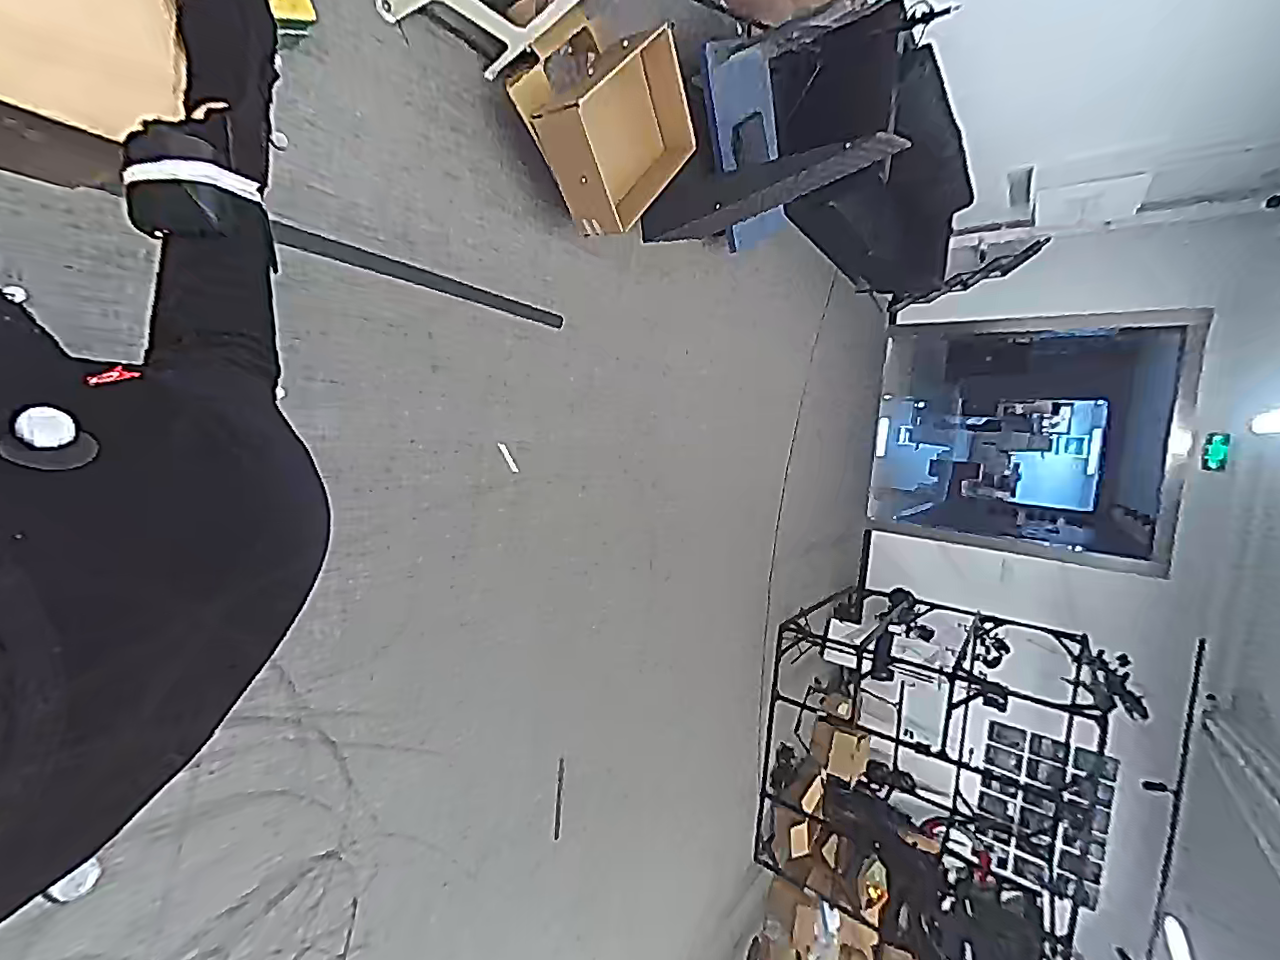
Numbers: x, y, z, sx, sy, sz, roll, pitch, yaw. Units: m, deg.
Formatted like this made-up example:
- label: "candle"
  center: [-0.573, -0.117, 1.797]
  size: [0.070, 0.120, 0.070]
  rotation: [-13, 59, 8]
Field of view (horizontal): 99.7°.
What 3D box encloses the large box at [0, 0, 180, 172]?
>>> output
- label: "large box"
  center: [-0.557, -0.420, 0.295]
  size: [0.408, 0.320, 0.320]
  rotation: [-4, 108, -57]
